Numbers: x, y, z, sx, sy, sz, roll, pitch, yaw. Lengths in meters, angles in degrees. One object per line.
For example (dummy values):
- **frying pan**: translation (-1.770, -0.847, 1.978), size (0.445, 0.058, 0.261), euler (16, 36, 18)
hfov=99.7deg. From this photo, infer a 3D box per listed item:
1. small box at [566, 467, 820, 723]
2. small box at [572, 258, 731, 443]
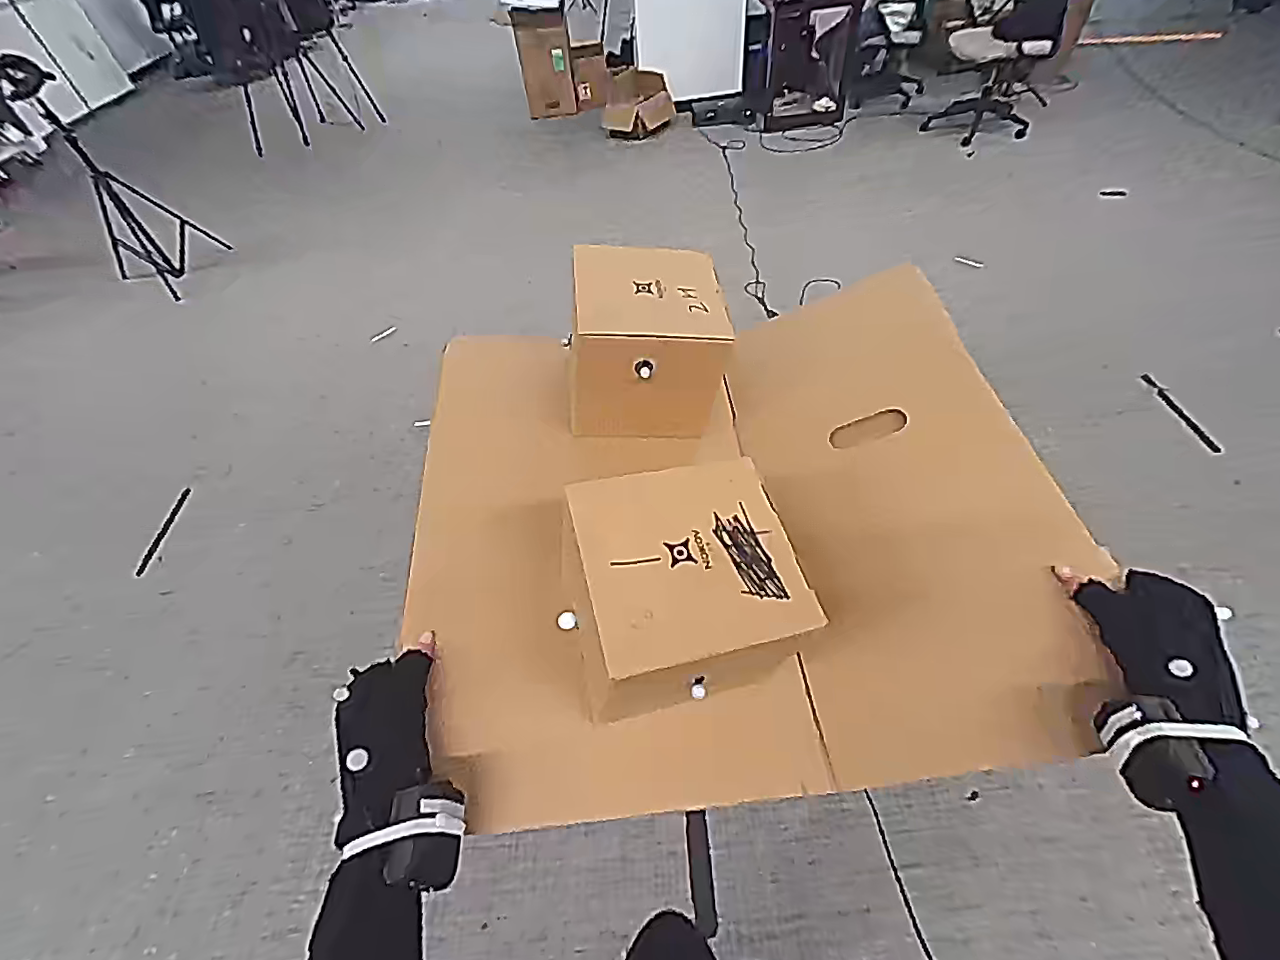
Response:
- **small box**: translation (0.031, 0.111, 0.509), size (0.179, 0.176, 0.168), euler (-9, 57, -14)
- **small box**: translation (0.000, -0.161, 0.699), size (0.179, 0.176, 0.168), euler (0, 55, -9)
